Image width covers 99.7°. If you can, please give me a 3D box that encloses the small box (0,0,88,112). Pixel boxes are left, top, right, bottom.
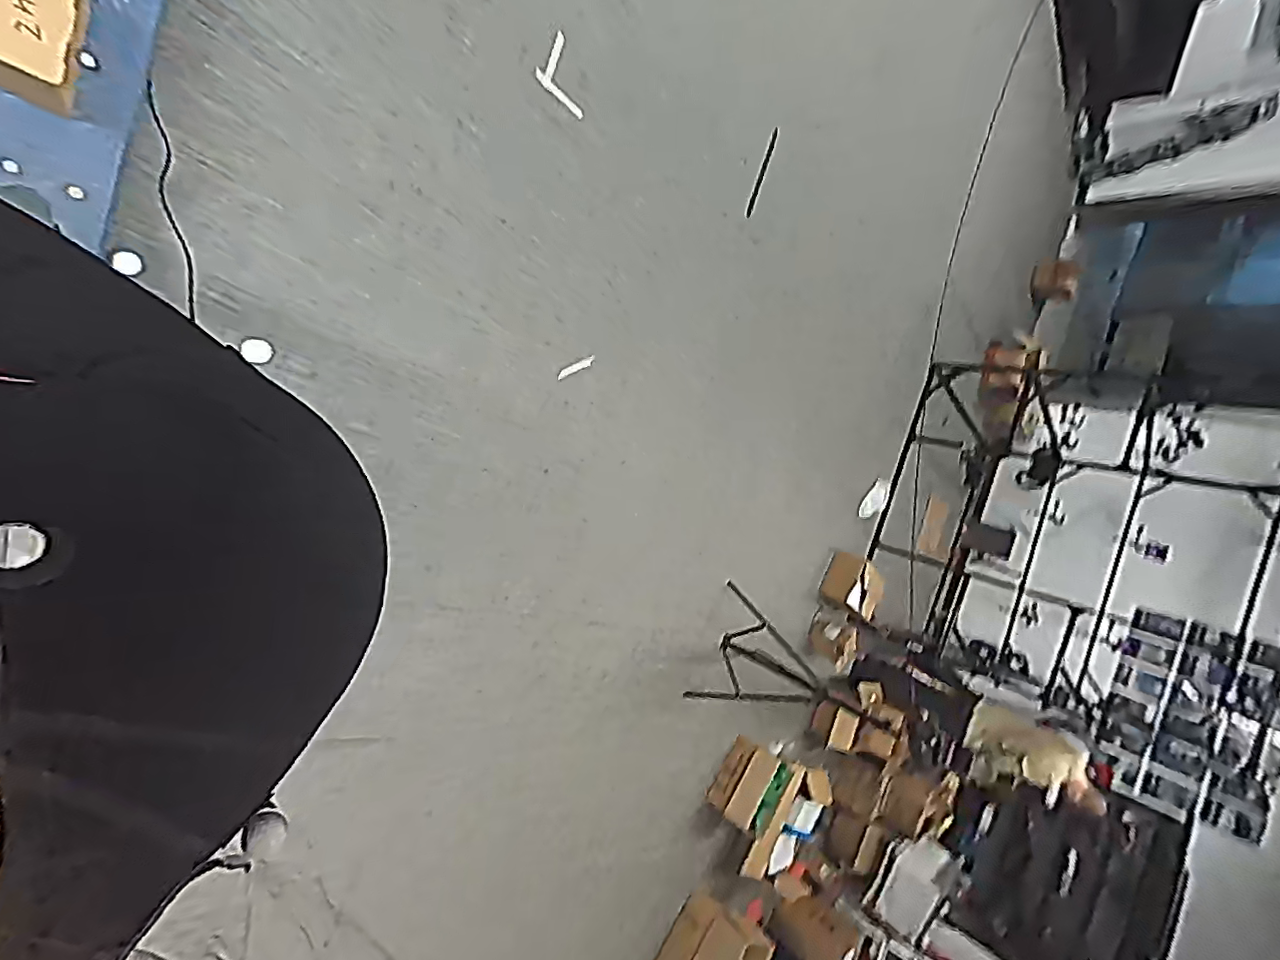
[{"bbox_3d":[-0.877,-0.634,0.722,0.179,0.176,0.168,11,95,-46],"label":"small box"}]
